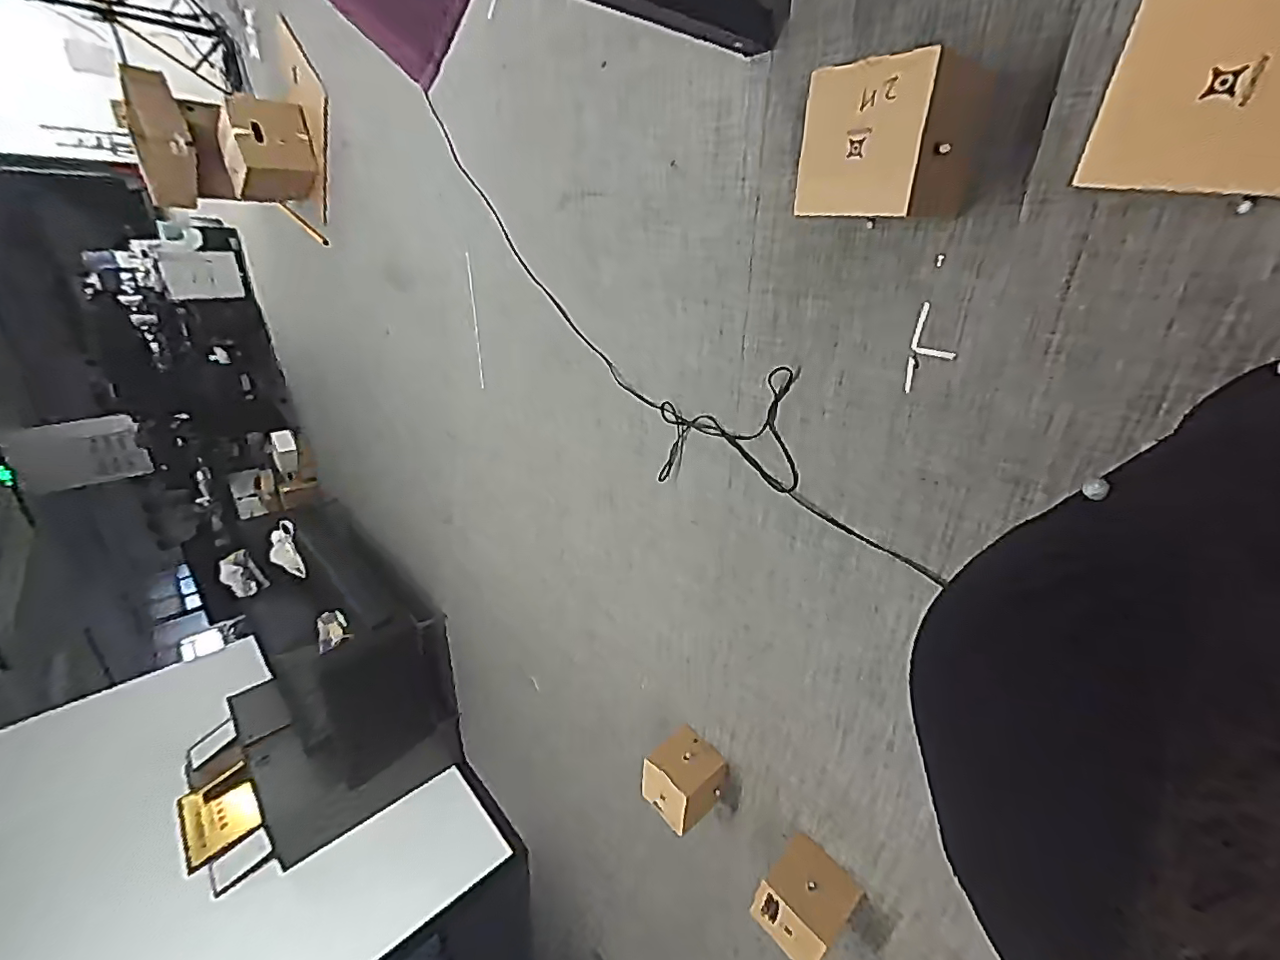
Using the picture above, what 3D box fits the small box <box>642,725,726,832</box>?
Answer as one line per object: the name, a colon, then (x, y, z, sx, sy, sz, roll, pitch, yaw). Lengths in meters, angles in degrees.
small box: (0.128, 0.851, 1.560, 0.168, 0.176, 0.179, 29, 125, 41)
